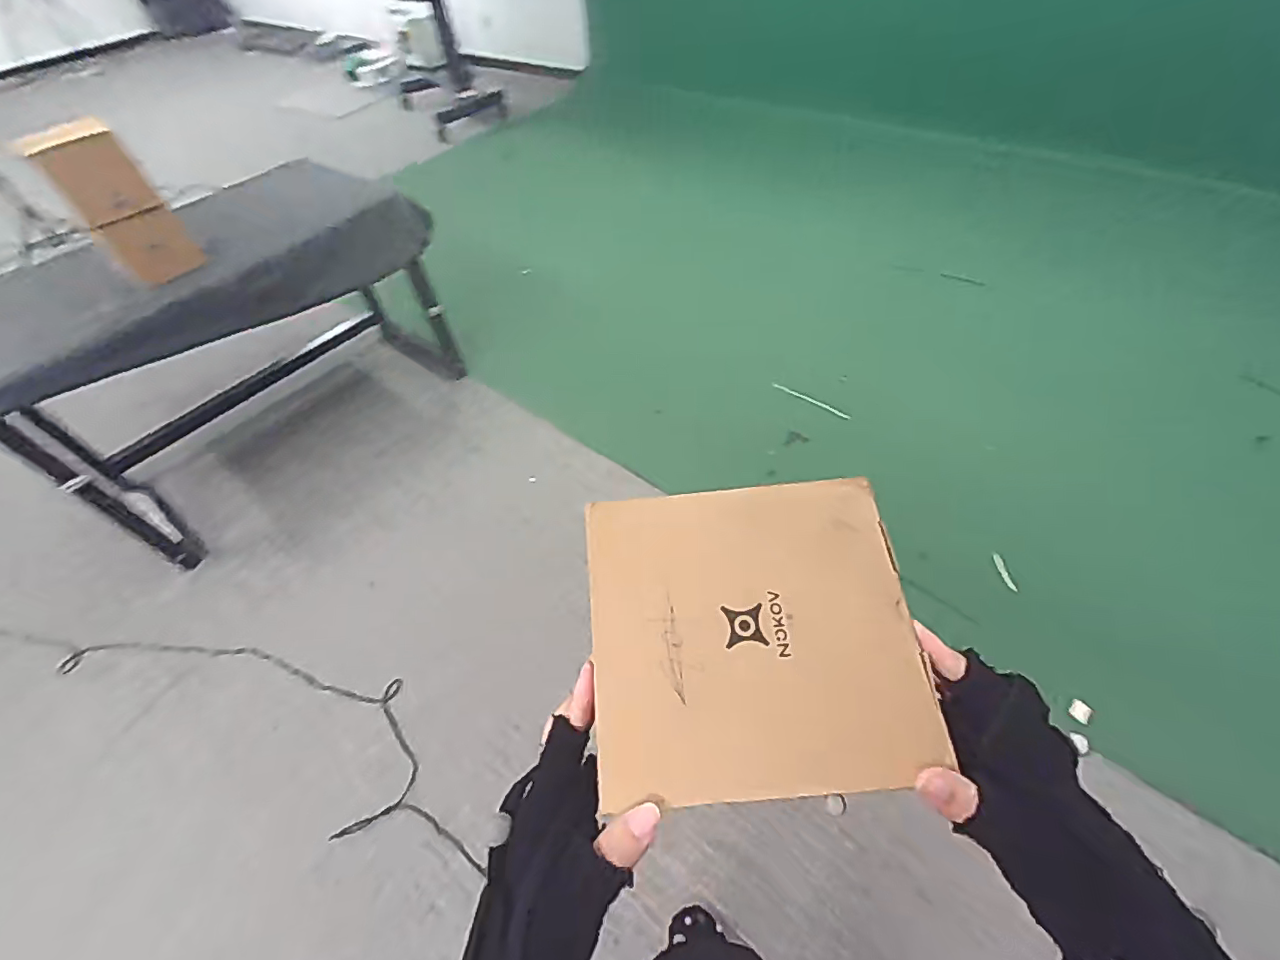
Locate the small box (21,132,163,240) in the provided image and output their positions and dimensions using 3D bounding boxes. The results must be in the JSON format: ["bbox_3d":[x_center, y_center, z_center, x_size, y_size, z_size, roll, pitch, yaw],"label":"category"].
[{"bbox_3d":[-1.320,-0.716,1.318,0.168,0.176,0.179,32,60,29],"label":"small box"}]

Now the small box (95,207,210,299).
[{"bbox_3d":[-1.307,-0.616,1.447,0.168,0.176,0.179,27,57,26],"label":"small box"}]

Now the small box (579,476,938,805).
[{"bbox_3d":[0.060,0.116,0.375,0.179,0.176,0.168,-8,61,0],"label":"small box"}]
